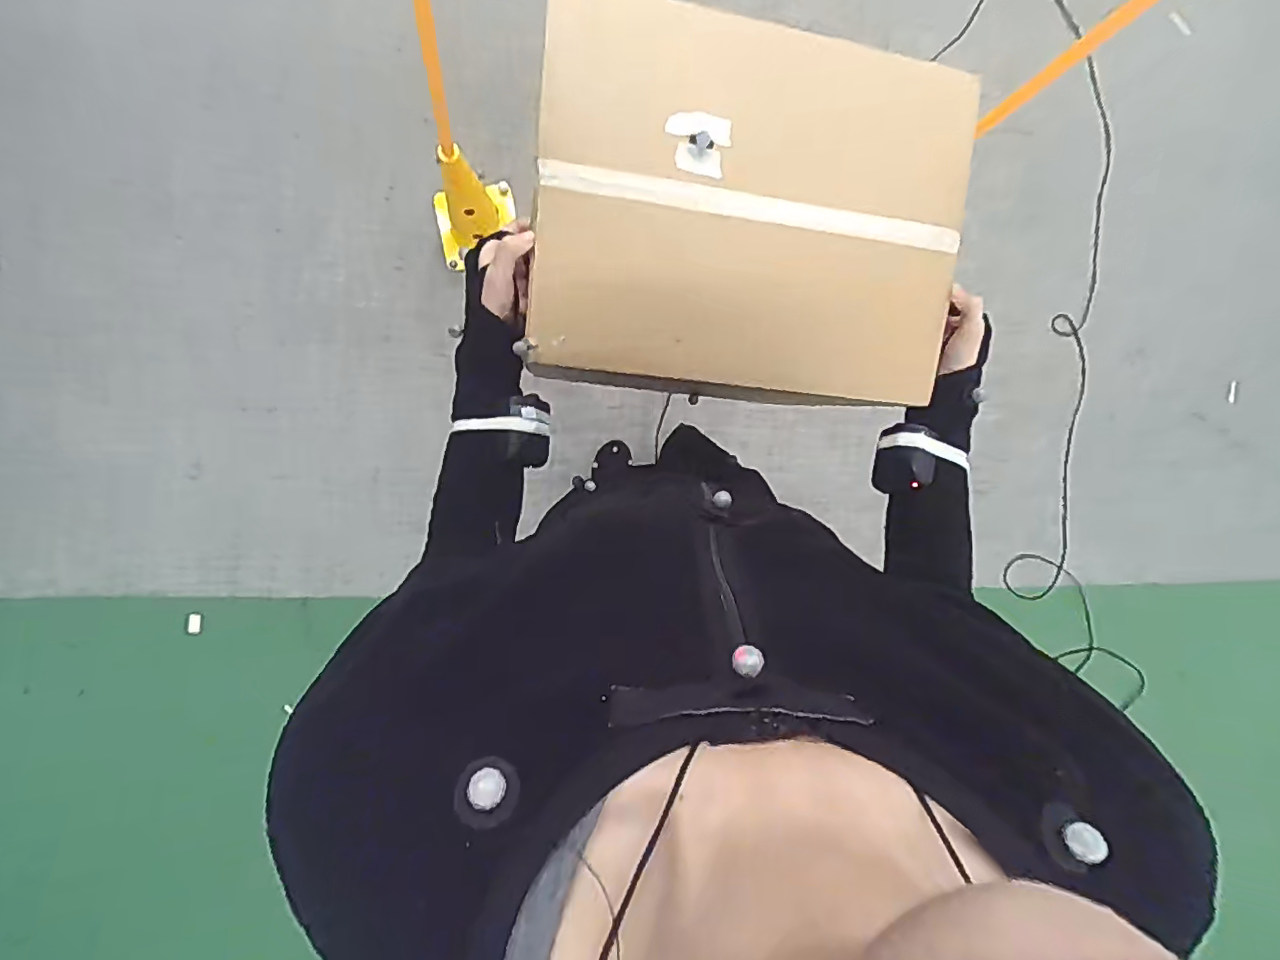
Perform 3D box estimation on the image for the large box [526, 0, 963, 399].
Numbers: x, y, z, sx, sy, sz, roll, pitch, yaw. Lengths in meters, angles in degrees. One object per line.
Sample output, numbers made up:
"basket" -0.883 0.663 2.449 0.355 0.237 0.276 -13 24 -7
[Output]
"large box" 0.082 -0.270 0.651 0.408 0.320 0.320 4 97 -10
